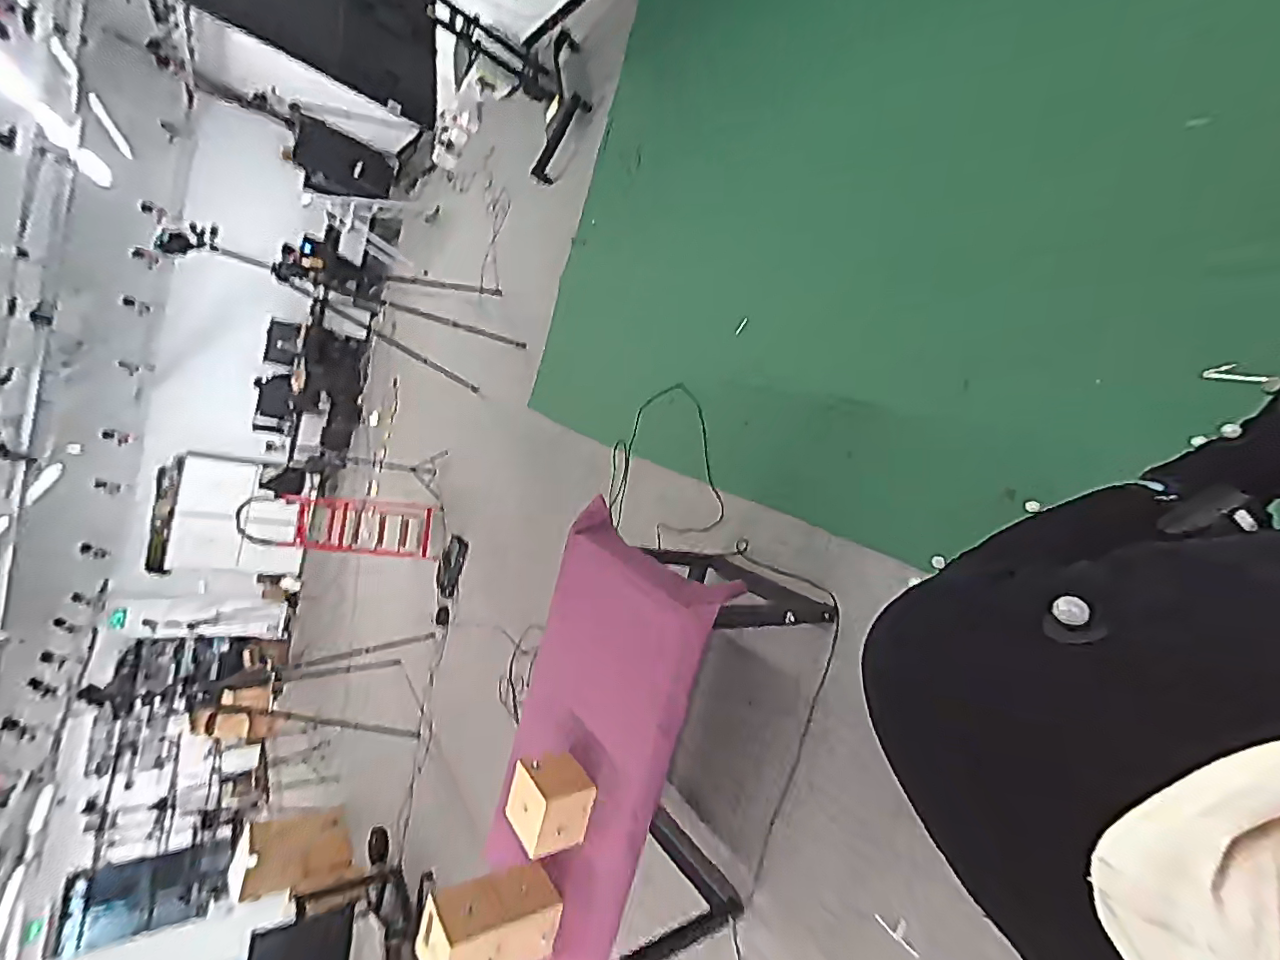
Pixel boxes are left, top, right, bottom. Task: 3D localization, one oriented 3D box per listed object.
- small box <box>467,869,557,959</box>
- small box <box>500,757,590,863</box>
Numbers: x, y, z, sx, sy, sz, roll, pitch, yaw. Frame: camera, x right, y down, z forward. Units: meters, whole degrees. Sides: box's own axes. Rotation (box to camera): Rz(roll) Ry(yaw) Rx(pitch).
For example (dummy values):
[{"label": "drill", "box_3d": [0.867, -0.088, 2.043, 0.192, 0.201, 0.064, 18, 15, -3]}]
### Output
[{"label": "small box", "box_3d": [-0.360, 1.240, 1.522, 0.179, 0.176, 0.168, 20, 97, 49]}, {"label": "small box", "box_3d": [-0.260, 0.895, 1.491, 0.179, 0.176, 0.168, 21, 98, 51]}]
